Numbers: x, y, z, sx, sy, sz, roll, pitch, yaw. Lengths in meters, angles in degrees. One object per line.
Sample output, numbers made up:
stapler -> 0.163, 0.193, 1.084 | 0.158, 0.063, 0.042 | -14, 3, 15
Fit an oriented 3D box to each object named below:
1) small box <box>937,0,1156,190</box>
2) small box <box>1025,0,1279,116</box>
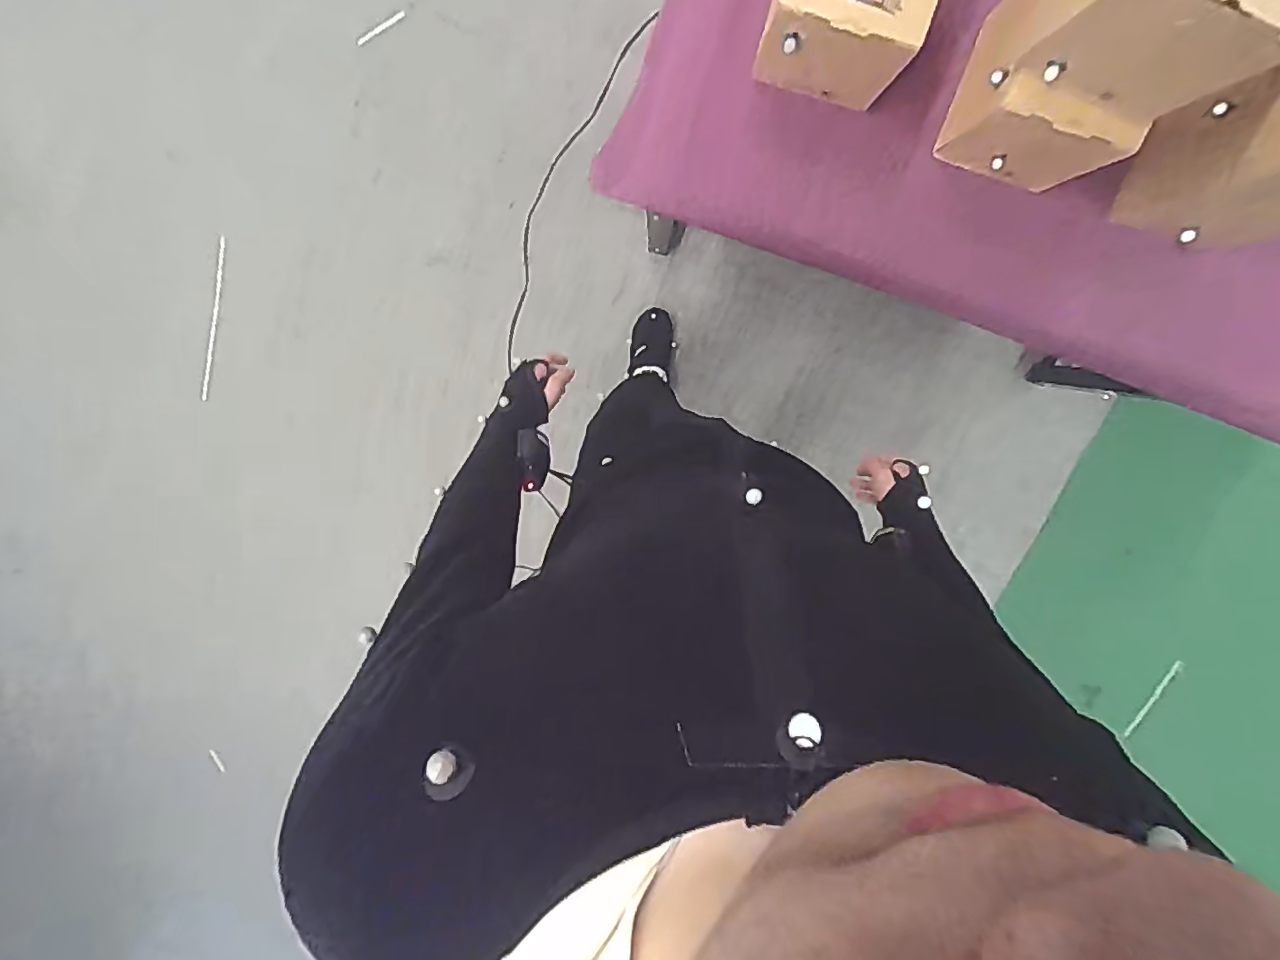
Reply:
small box -> 0.506, -0.490, 0.664 | 0.168, 0.176, 0.179 | 16, 105, -3
small box -> 0.507, -0.480, 0.497 | 0.168, 0.176, 0.179 | 20, 103, -4
